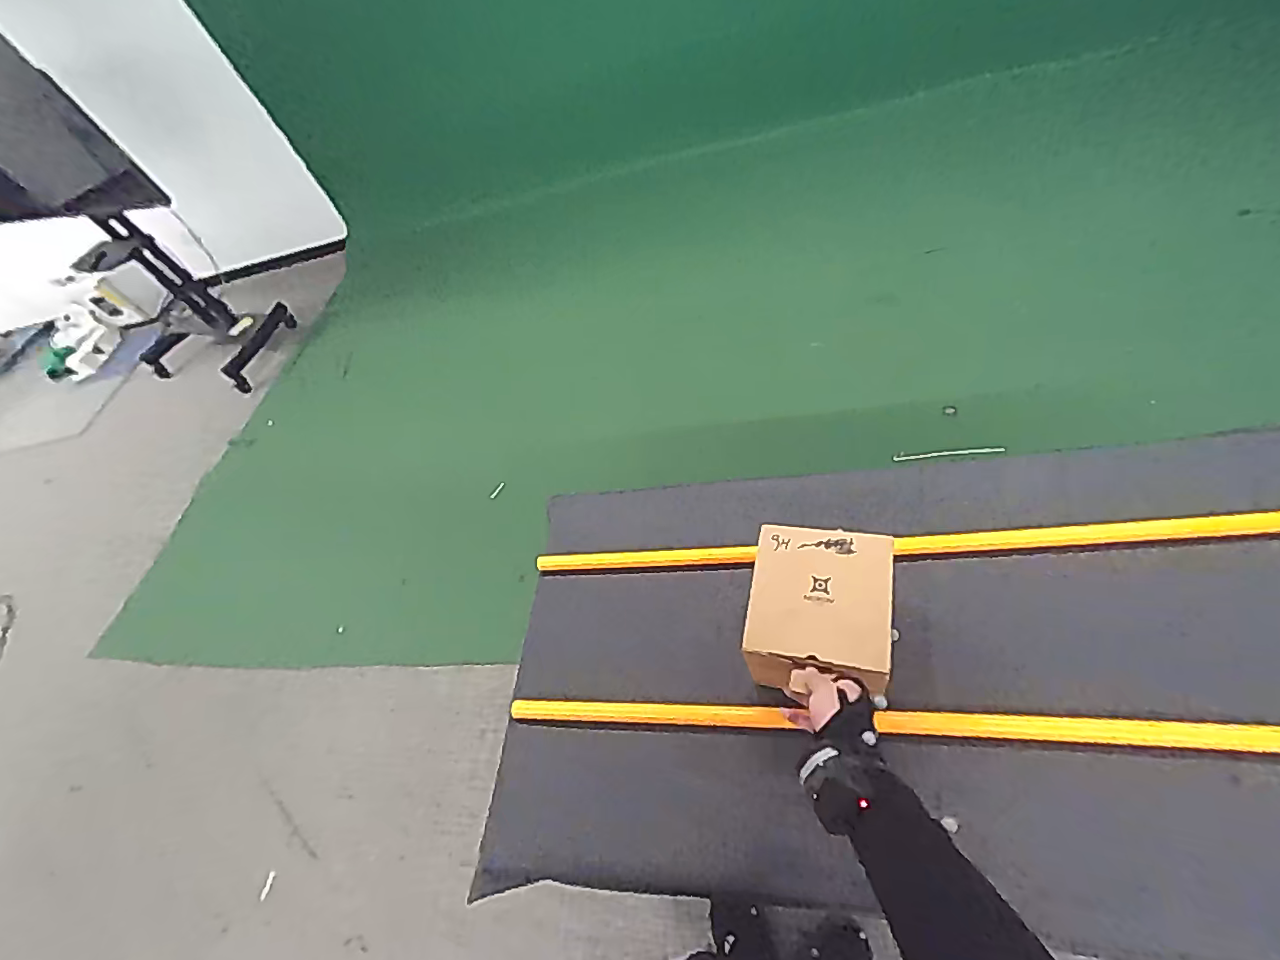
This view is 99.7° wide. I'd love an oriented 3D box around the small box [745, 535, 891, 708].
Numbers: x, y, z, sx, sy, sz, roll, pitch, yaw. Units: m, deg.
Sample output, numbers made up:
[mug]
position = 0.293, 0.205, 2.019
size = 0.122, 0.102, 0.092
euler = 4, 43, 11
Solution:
[small box]
position = 0.246, 0.192, 0.730
size = 0.168, 0.176, 0.179
euler = 0, 54, 21
